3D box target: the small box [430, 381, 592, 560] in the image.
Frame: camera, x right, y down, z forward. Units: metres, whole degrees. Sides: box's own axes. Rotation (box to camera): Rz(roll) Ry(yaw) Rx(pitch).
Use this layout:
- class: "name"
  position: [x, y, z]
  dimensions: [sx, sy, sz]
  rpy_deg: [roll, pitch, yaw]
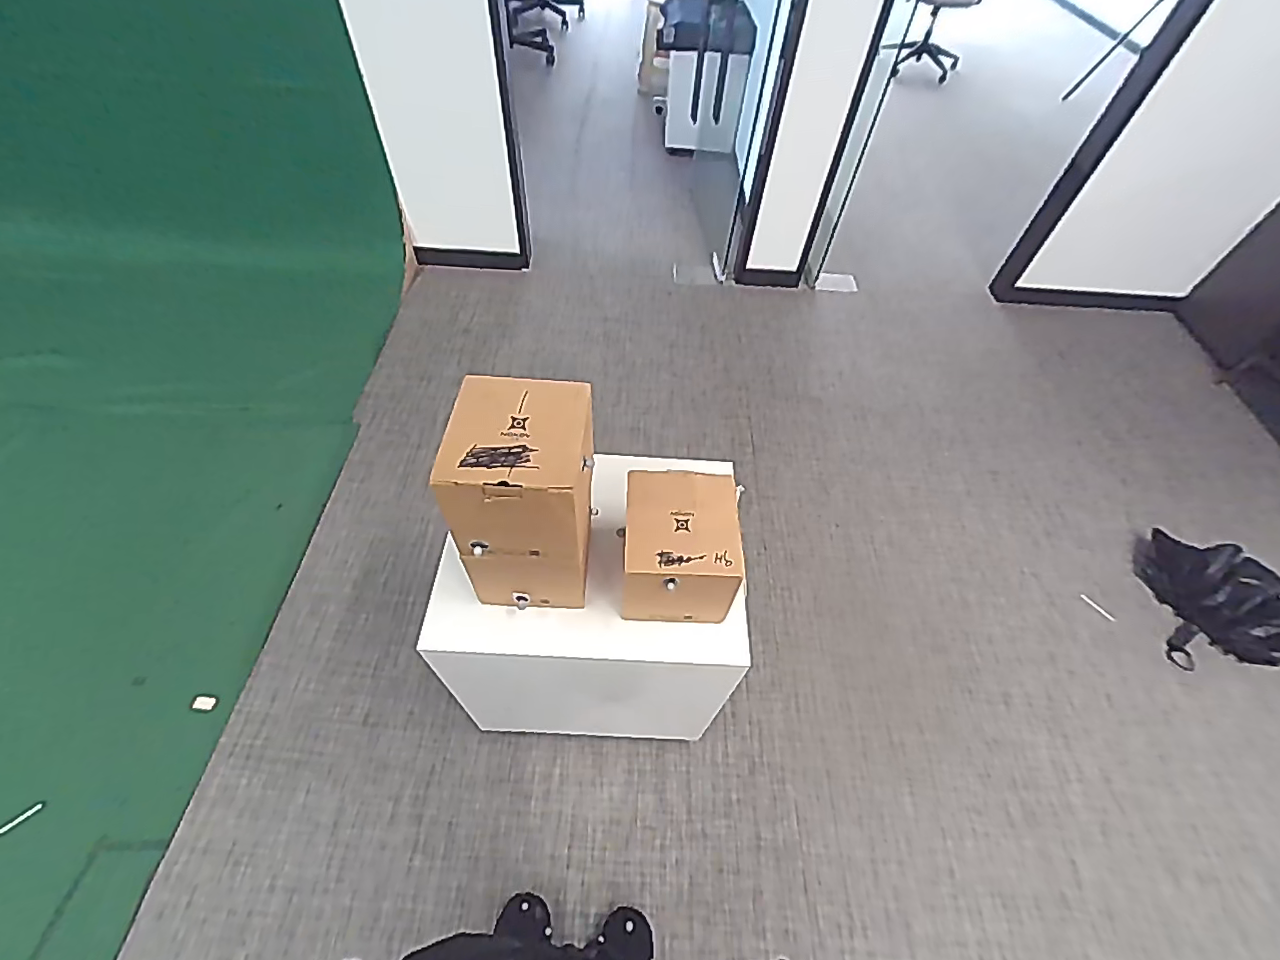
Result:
- class: "small box"
  position: [-0.155, -0.009, 0.723]
  dimensions: [0.168, 0.176, 0.179]
  rpy_deg: [4, 51, 0]

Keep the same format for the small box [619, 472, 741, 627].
- class: "small box"
  position: [0.054, 0.111, 0.850]
  dimensions: [0.168, 0.176, 0.179]
  rpy_deg: [3, 52, -2]

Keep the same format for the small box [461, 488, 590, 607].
- class: "small box"
  position: [-0.164, 0.081, 0.840]
  dimensions: [0.168, 0.176, 0.179]
  rpy_deg: [1, 54, -2]
